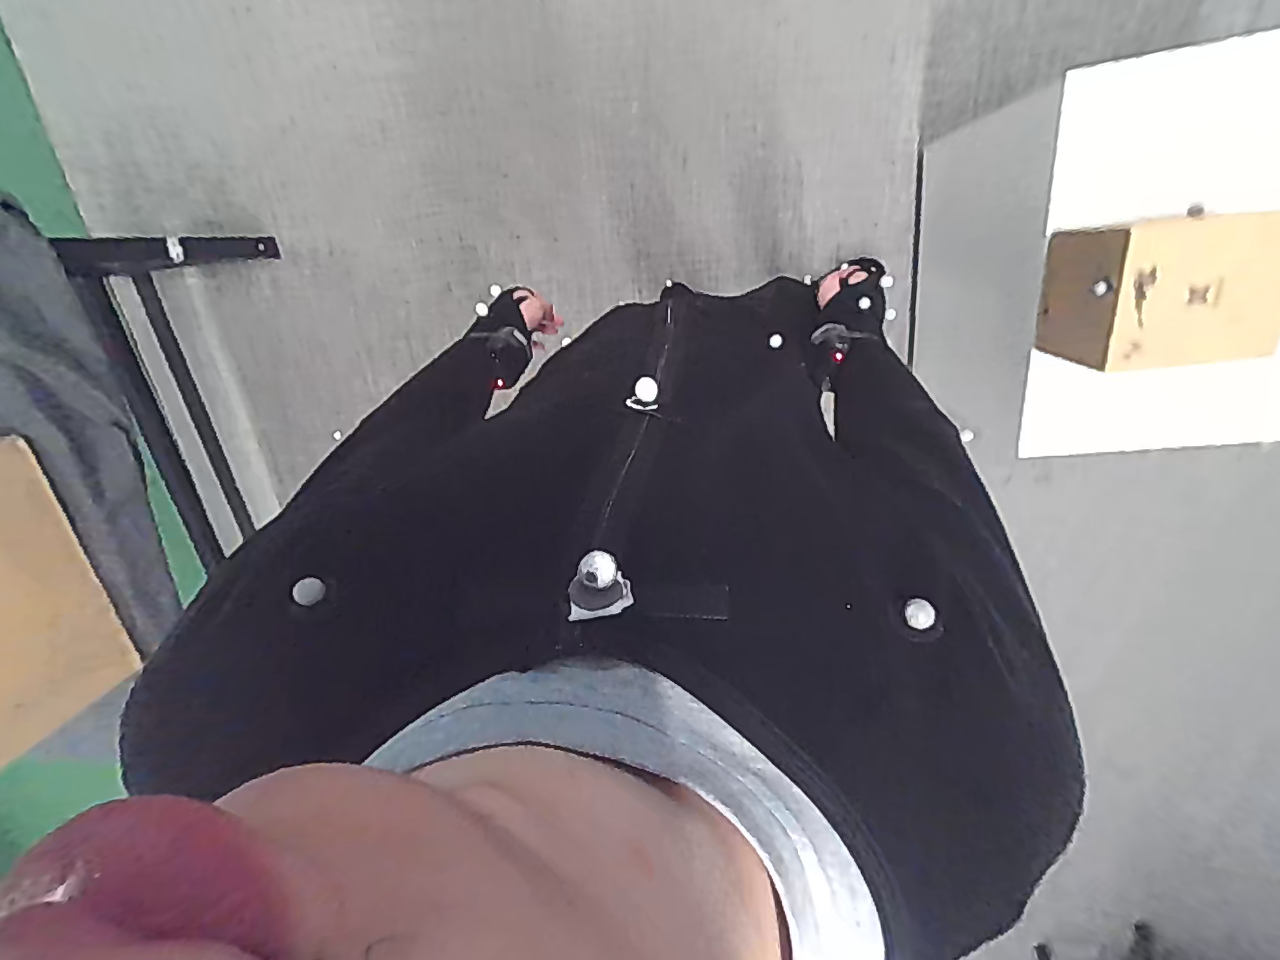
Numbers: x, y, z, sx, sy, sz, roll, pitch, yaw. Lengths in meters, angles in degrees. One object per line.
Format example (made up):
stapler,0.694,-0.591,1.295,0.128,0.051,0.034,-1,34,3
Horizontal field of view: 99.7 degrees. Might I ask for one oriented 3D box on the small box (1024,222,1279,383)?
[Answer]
small box,0.633,-0.227,0.681,0.179,0.176,0.168,-3,112,9
